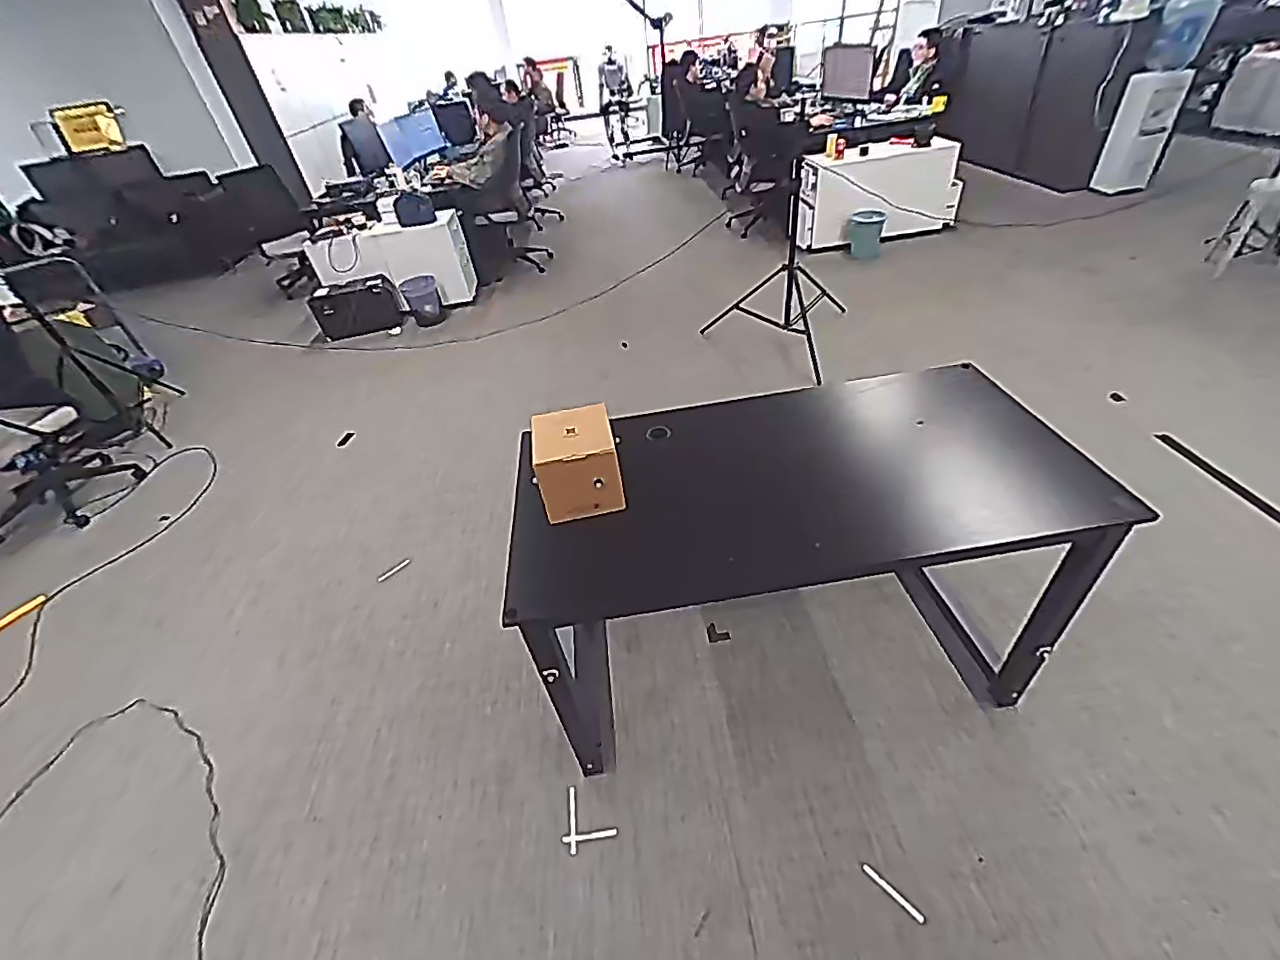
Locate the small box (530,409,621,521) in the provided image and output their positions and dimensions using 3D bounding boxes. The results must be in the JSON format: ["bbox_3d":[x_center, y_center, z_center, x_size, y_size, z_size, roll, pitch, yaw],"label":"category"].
[{"bbox_3d":[-0.139,-0.027,1.175,0.168,0.176,0.179,-11,39,-5],"label":"small box"}]
